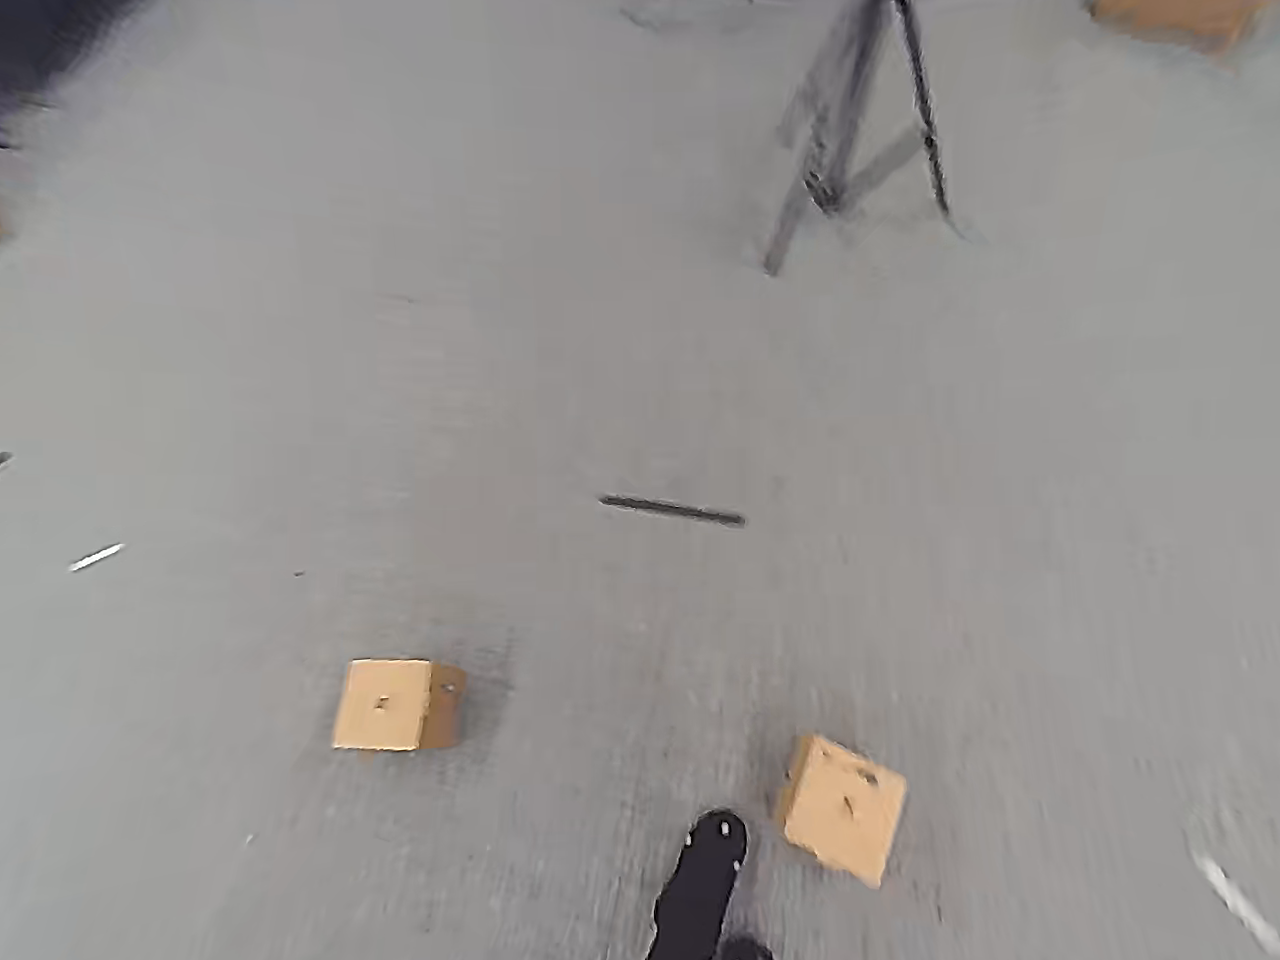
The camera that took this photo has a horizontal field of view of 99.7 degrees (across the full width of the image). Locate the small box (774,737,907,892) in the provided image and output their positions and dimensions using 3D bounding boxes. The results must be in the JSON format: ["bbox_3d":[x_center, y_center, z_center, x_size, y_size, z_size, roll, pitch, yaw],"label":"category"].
[{"bbox_3d":[0.358,0.600,0.998,0.168,0.176,0.179,24,71,15],"label":"small box"}]

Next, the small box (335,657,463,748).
[{"bbox_3d":[-0.495,0.471,1.143,0.179,0.176,0.168,-1,64,6],"label":"small box"}]
